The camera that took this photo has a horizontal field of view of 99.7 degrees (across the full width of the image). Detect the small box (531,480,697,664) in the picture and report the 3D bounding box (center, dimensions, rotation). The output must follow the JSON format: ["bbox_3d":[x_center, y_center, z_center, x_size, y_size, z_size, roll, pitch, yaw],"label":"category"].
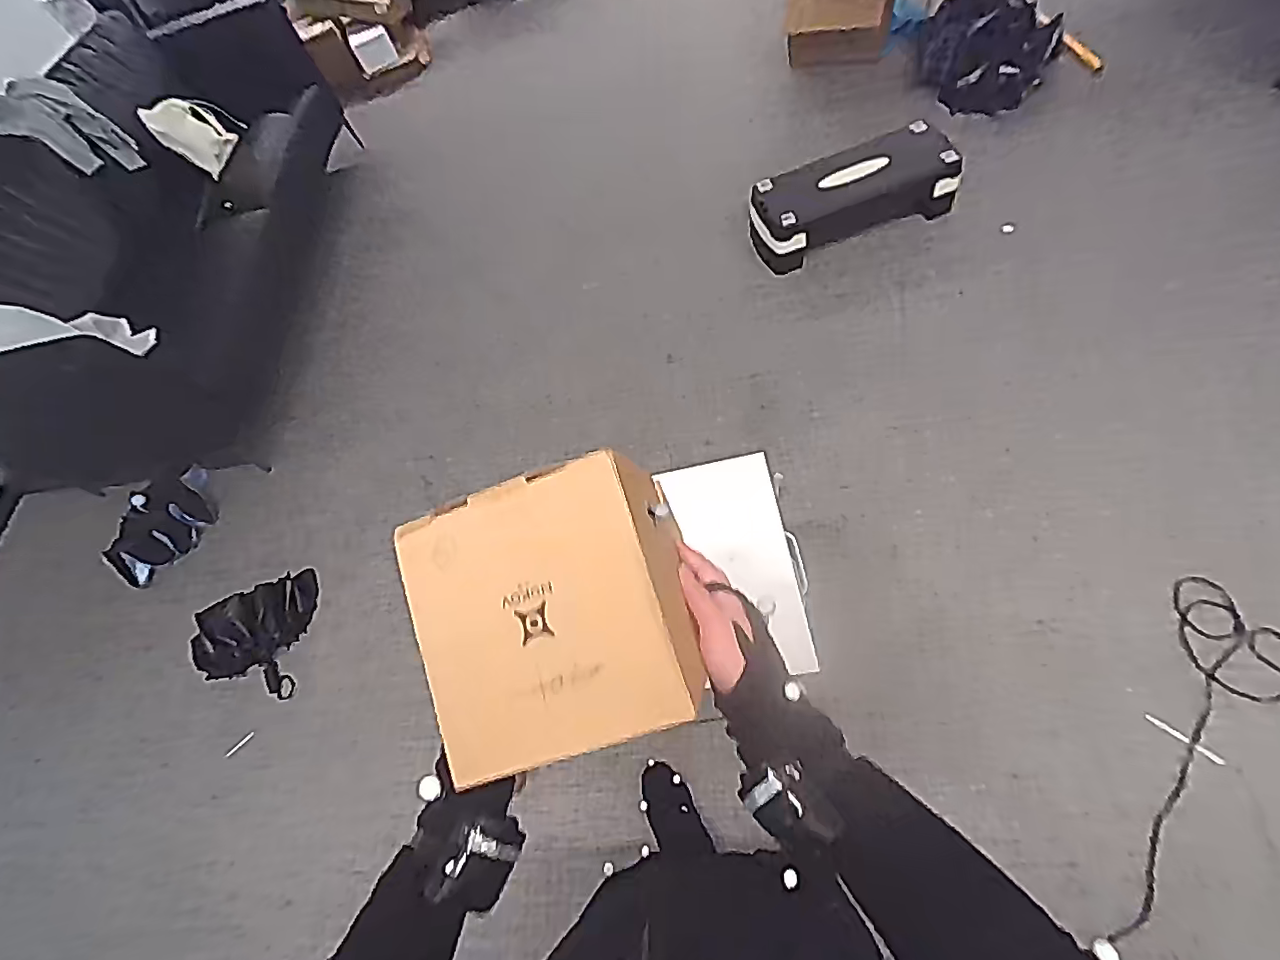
[{"bbox_3d":[-0.029,0.129,0.696,0.168,0.176,0.179,-14,59,6],"label":"small box"}]

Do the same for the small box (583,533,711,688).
[{"bbox_3d":[0.007,0.206,0.838,0.168,0.176,0.179,-15,59,7],"label":"small box"}]
